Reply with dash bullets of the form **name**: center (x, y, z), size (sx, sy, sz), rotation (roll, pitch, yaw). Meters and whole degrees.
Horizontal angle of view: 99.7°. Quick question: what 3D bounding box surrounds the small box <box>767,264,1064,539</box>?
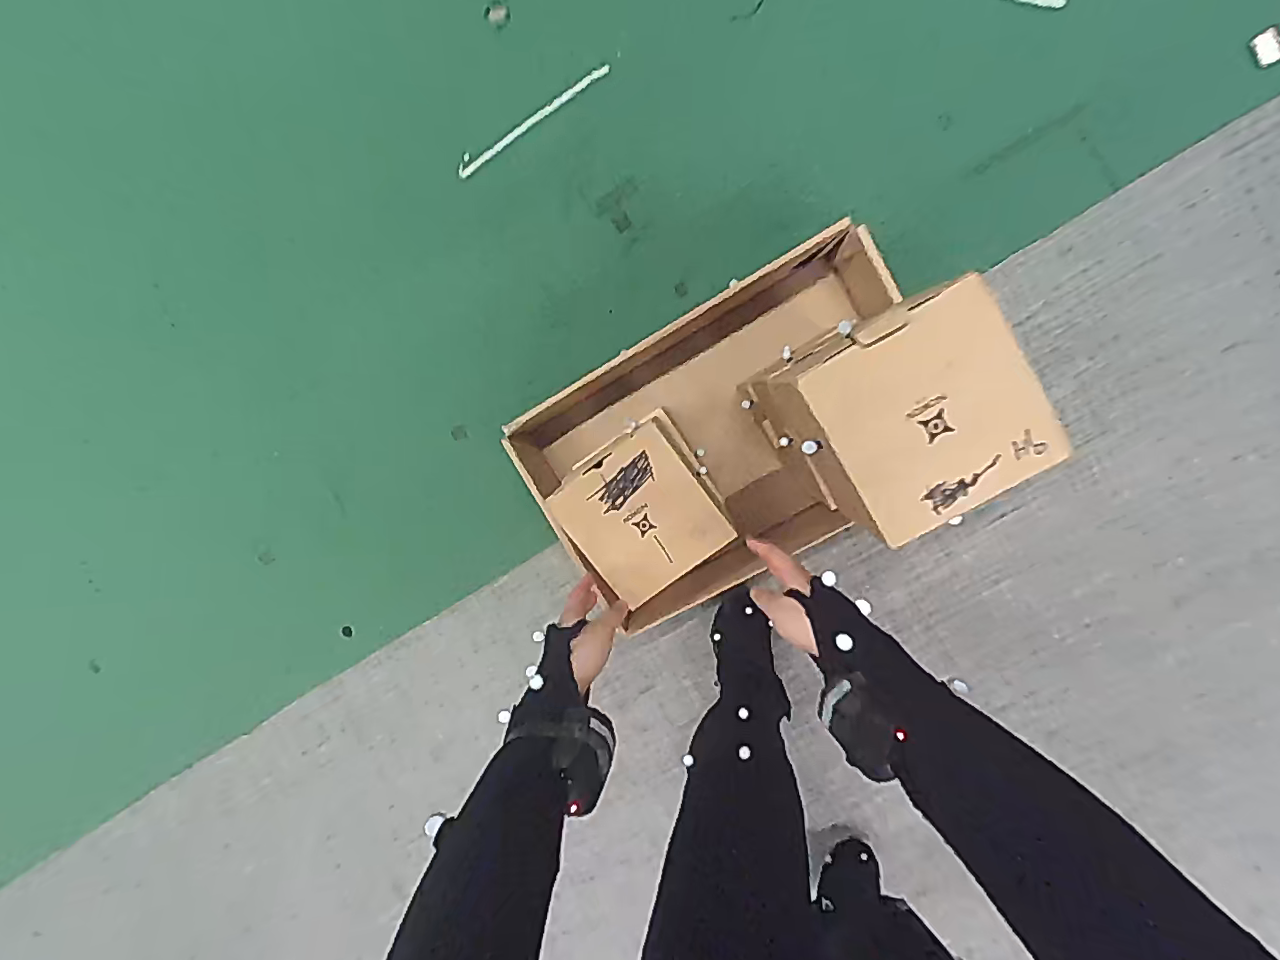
- **small box**: center (0.242, -0.071, 0.527), size (0.168, 0.176, 0.179), rotation (-31, 94, 9)

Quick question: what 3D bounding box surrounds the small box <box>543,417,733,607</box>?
- **small box**: center (0.000, 0.031, 0.725), size (0.168, 0.176, 0.179), rotation (-37, 95, 7)

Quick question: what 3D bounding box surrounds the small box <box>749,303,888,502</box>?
- **small box**: center (0.254, -0.096, 0.689), size (0.168, 0.176, 0.179), rotation (-28, 97, 9)

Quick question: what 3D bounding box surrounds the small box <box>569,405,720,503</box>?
- **small box**: center (0.010, -0.005, 0.886), size (0.168, 0.176, 0.179), rotation (-35, 95, 7)
